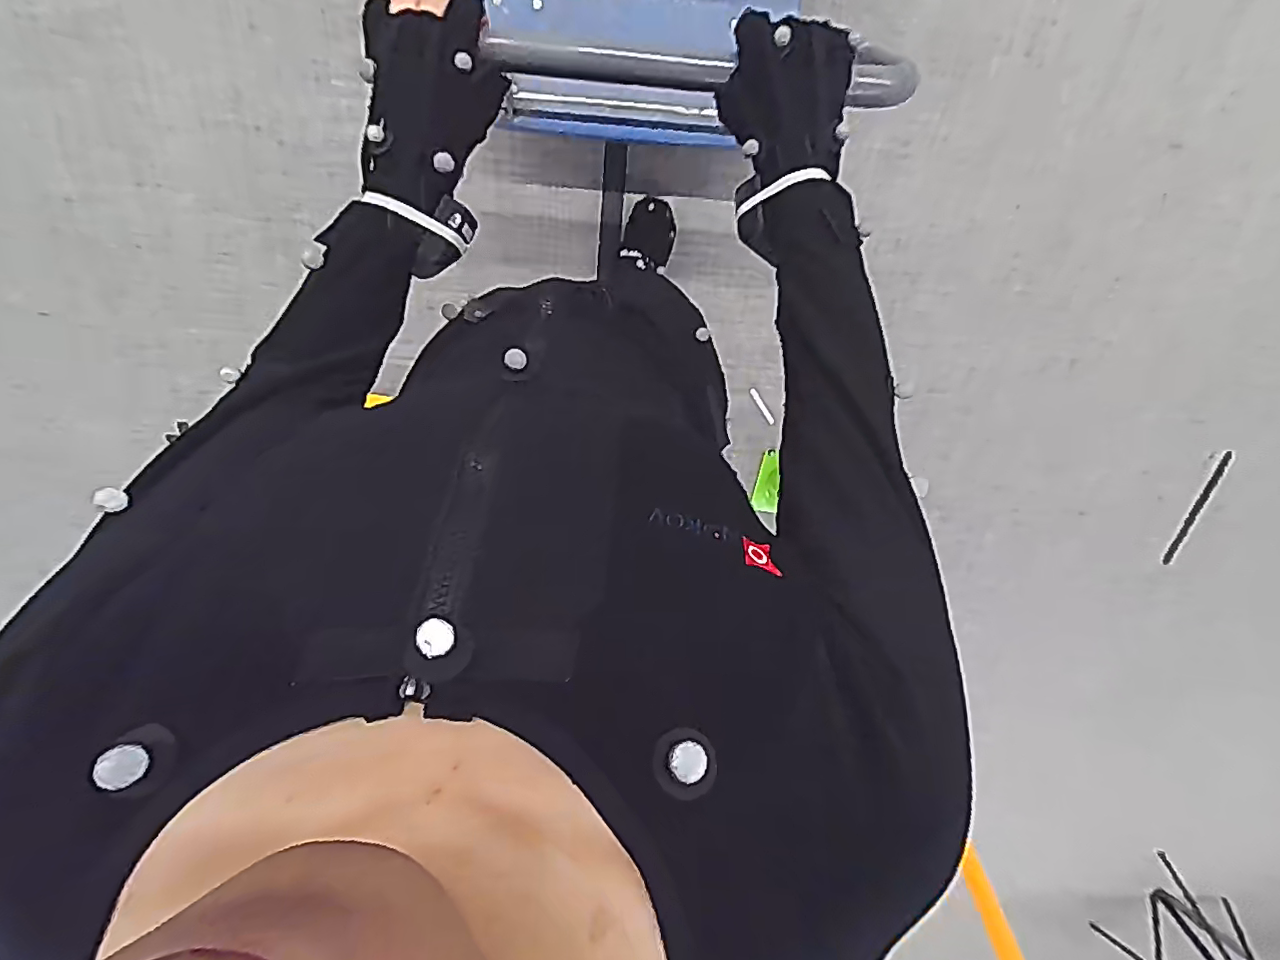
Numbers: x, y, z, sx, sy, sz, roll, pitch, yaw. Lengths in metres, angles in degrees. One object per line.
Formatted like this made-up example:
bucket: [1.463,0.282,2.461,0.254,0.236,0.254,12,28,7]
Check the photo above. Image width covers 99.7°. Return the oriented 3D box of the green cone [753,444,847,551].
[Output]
green cone: [0.447,0.073,1.412,0.202,0.368,0.200,7,116,-6]
